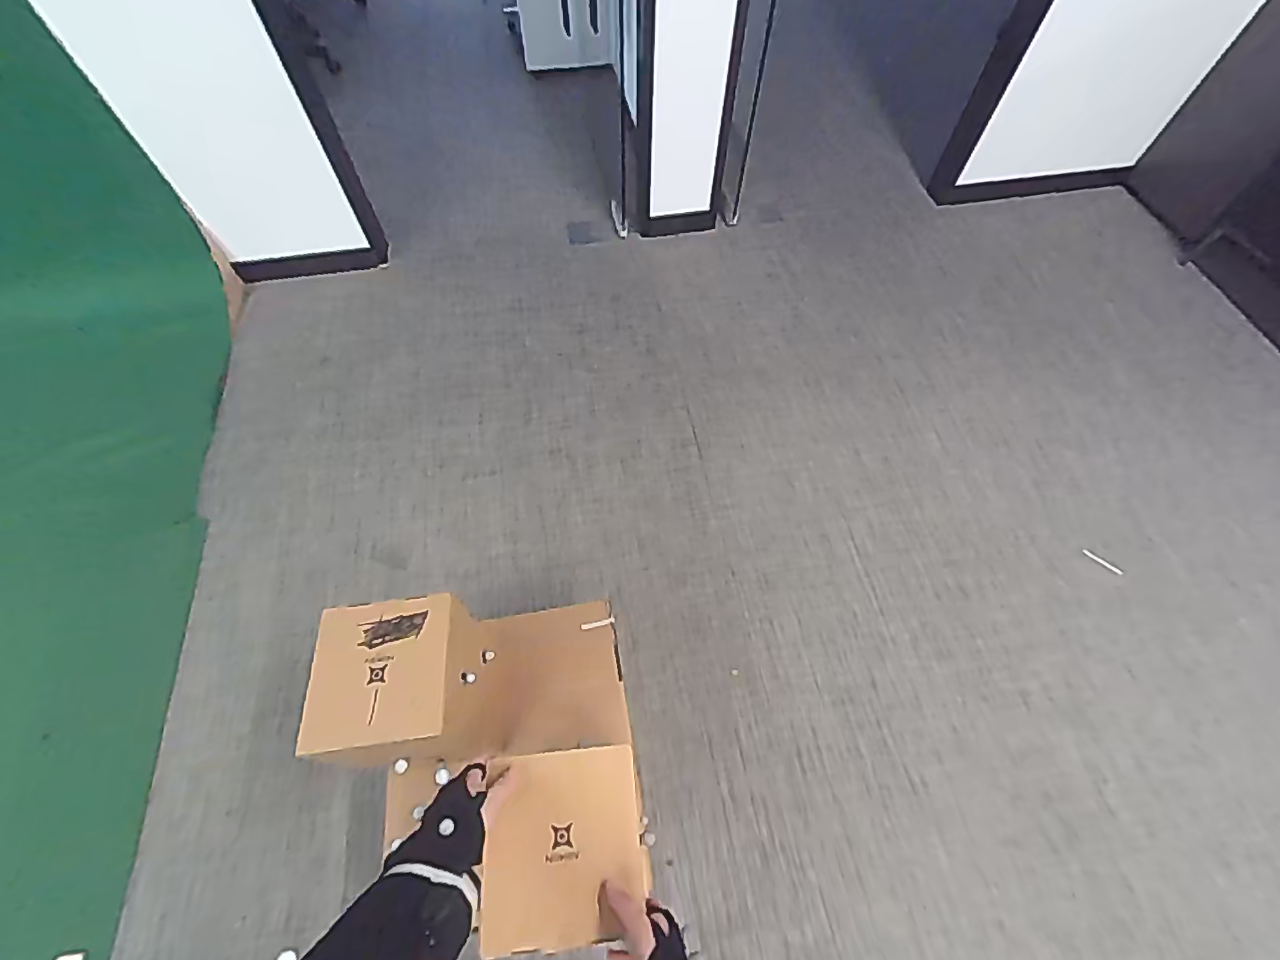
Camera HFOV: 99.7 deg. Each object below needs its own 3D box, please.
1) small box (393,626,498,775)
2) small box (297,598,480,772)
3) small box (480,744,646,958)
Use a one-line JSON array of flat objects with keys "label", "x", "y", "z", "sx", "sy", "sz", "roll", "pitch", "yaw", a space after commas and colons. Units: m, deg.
[{"label": "small box", "x": -0.329, "y": 0.357, "z": 0.871, "sx": 0.168, "sy": 0.176, "sz": 0.179, "roll": -8, "pitch": 57, "yaw": -5}, {"label": "small box", "x": -0.318, "y": 0.278, "z": 0.727, "sx": 0.168, "sy": 0.176, "sz": 0.179, "roll": -7, "pitch": 58, "yaw": -4}, {"label": "small box", "x": -0.086, "y": 0.426, "z": 0.640, "sx": 0.168, "sy": 0.176, "sz": 0.179, "roll": -4, "pitch": 59, "yaw": -5}]
